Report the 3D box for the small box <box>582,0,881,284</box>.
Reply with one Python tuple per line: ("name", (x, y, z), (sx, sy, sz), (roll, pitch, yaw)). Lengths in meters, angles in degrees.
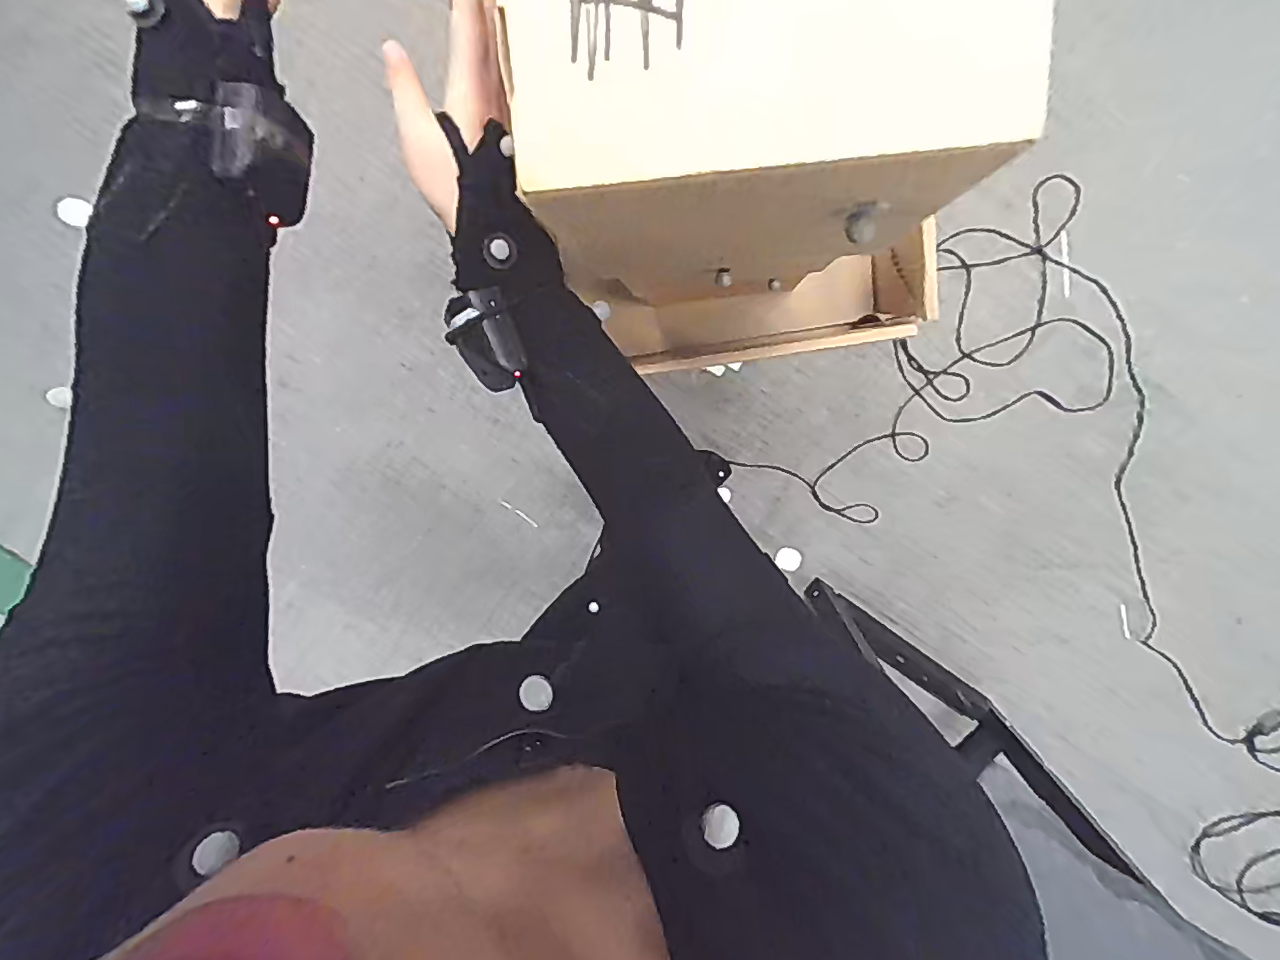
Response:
("small box", (0.065, -0.254, 0.409), (0.179, 0.176, 0.168), (-5, 100, 8))
